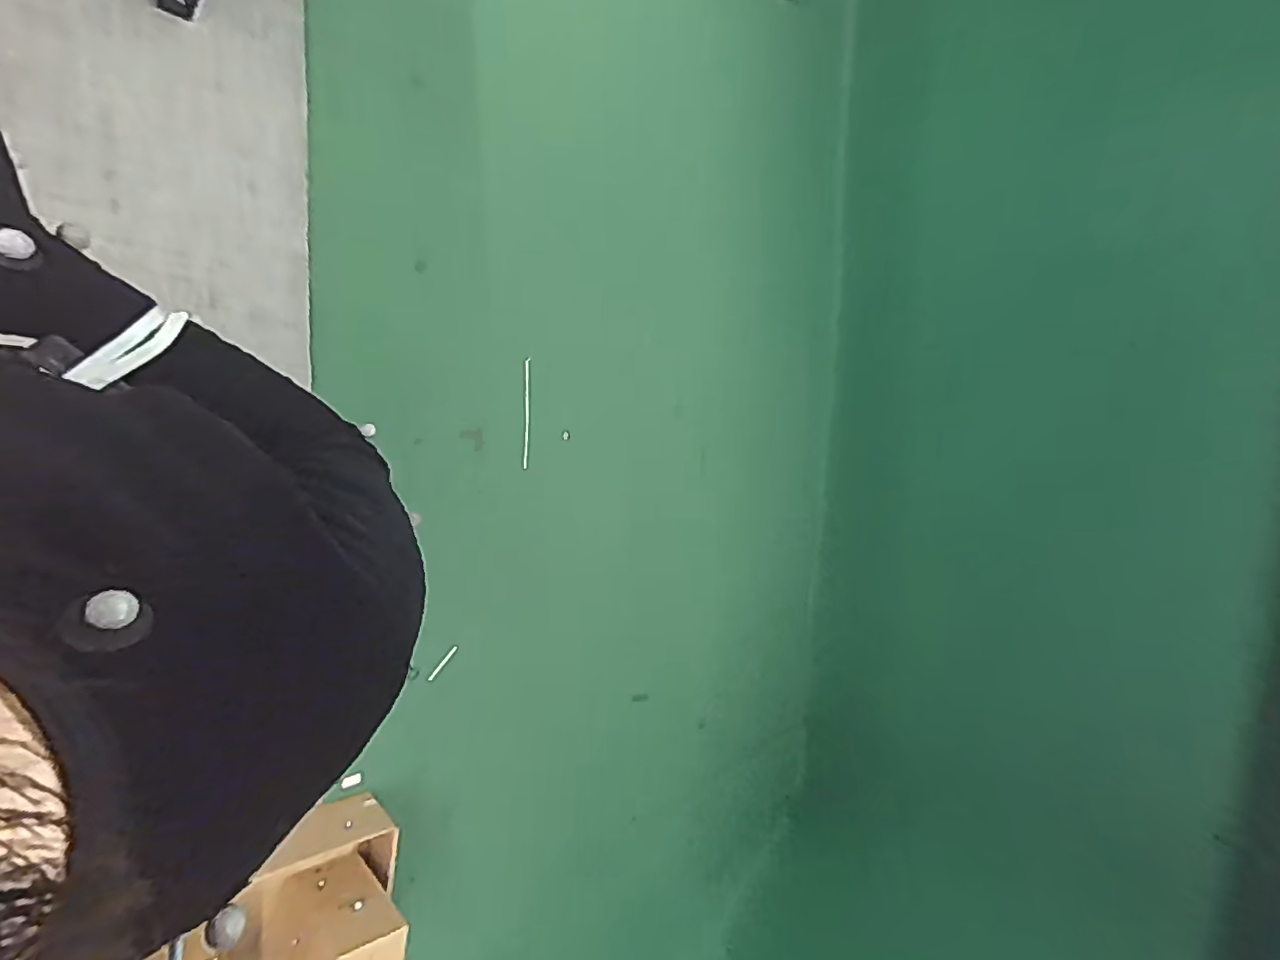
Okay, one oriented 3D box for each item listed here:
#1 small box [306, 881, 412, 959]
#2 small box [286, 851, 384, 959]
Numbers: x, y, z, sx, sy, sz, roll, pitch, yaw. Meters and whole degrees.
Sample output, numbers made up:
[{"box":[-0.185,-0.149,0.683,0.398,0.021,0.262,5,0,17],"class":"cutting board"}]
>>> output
[{"box":[-0.669,1.110,1.279,0.168,0.176,0.179,12,85,-47],"class":"small box"},{"box":[-0.788,1.099,1.391,0.168,0.176,0.179,10,88,-47],"class":"small box"}]
